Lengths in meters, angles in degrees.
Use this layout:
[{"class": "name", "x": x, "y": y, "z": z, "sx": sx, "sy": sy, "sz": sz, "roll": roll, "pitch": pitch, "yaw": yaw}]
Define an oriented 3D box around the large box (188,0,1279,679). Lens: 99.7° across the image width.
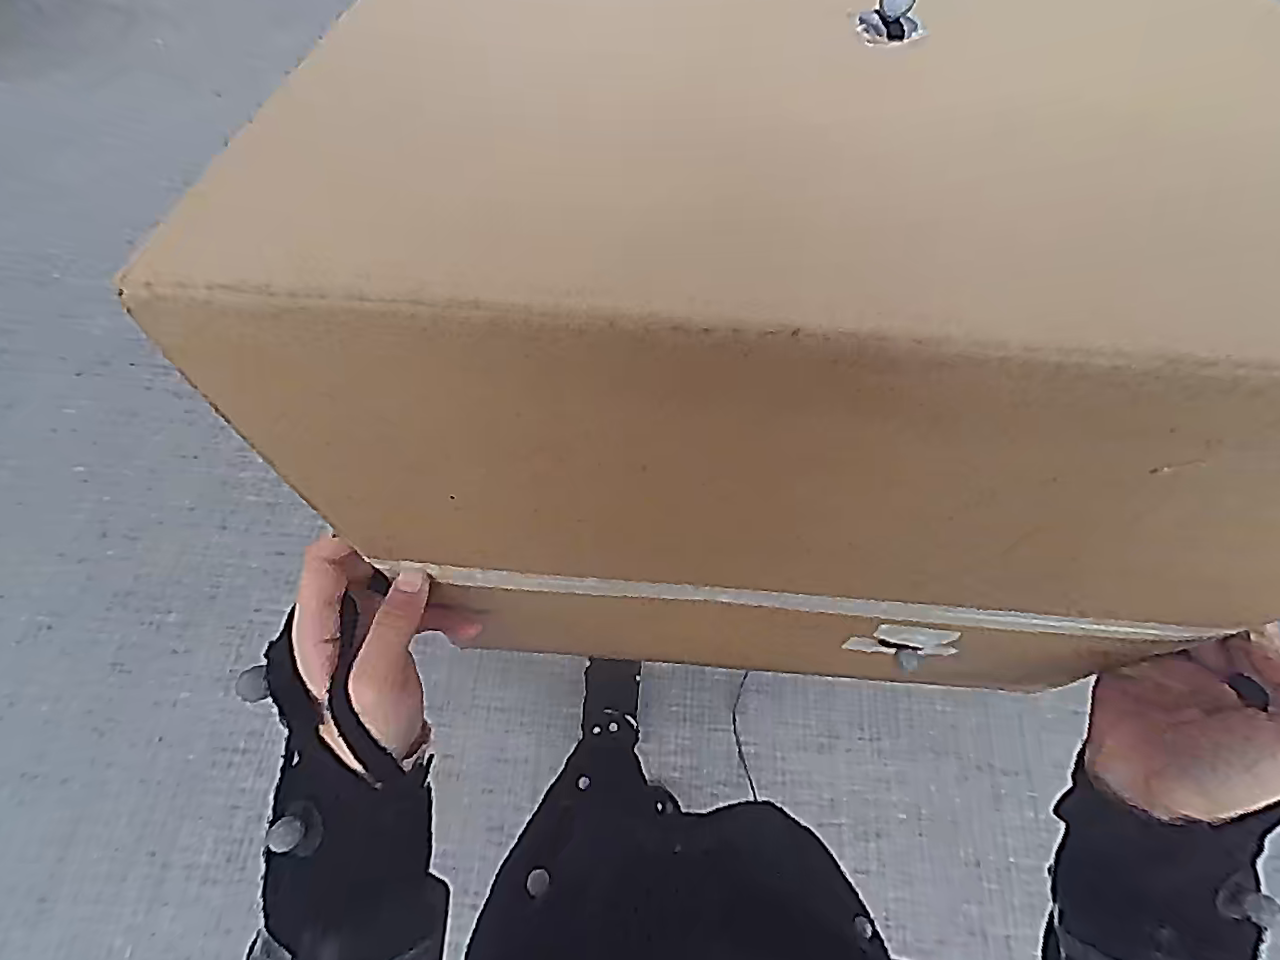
[{"class": "large box", "x": 0.081, "y": -0.076, "z": 0.340, "sx": 0.408, "sy": 0.320, "sz": 0.320, "roll": 4, "pitch": 59, "yaw": 0}]
